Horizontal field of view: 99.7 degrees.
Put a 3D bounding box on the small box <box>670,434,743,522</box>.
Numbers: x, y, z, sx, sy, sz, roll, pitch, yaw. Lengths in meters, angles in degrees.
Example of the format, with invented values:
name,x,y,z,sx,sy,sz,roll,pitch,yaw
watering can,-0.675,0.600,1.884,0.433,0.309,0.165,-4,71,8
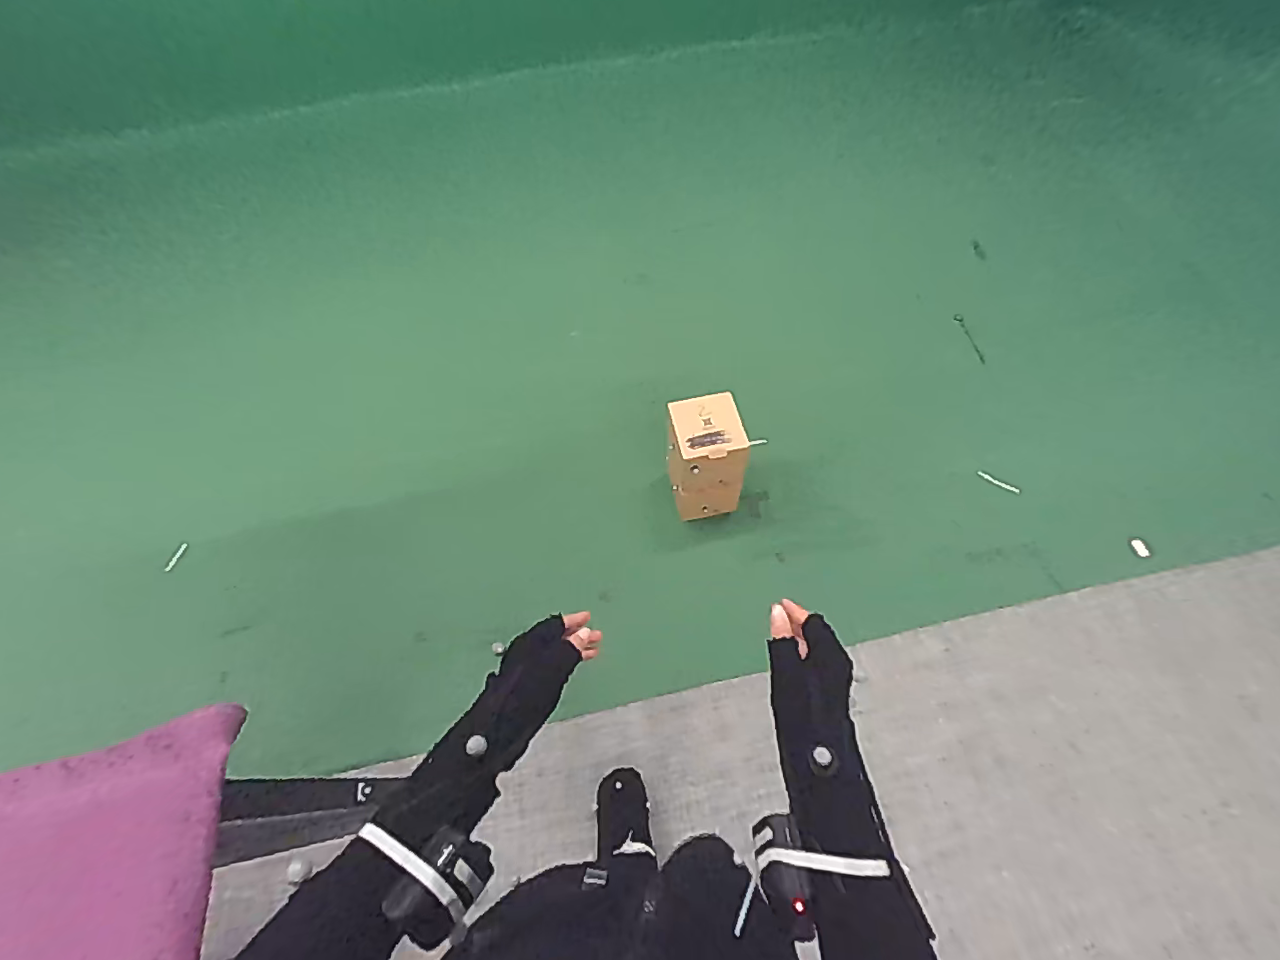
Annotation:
name,x,y,z,sx,sy,sz,roll,pitch,yaw
small box,0.181,-0.004,1.537,0.168,0.176,0.179,-11,61,-3
